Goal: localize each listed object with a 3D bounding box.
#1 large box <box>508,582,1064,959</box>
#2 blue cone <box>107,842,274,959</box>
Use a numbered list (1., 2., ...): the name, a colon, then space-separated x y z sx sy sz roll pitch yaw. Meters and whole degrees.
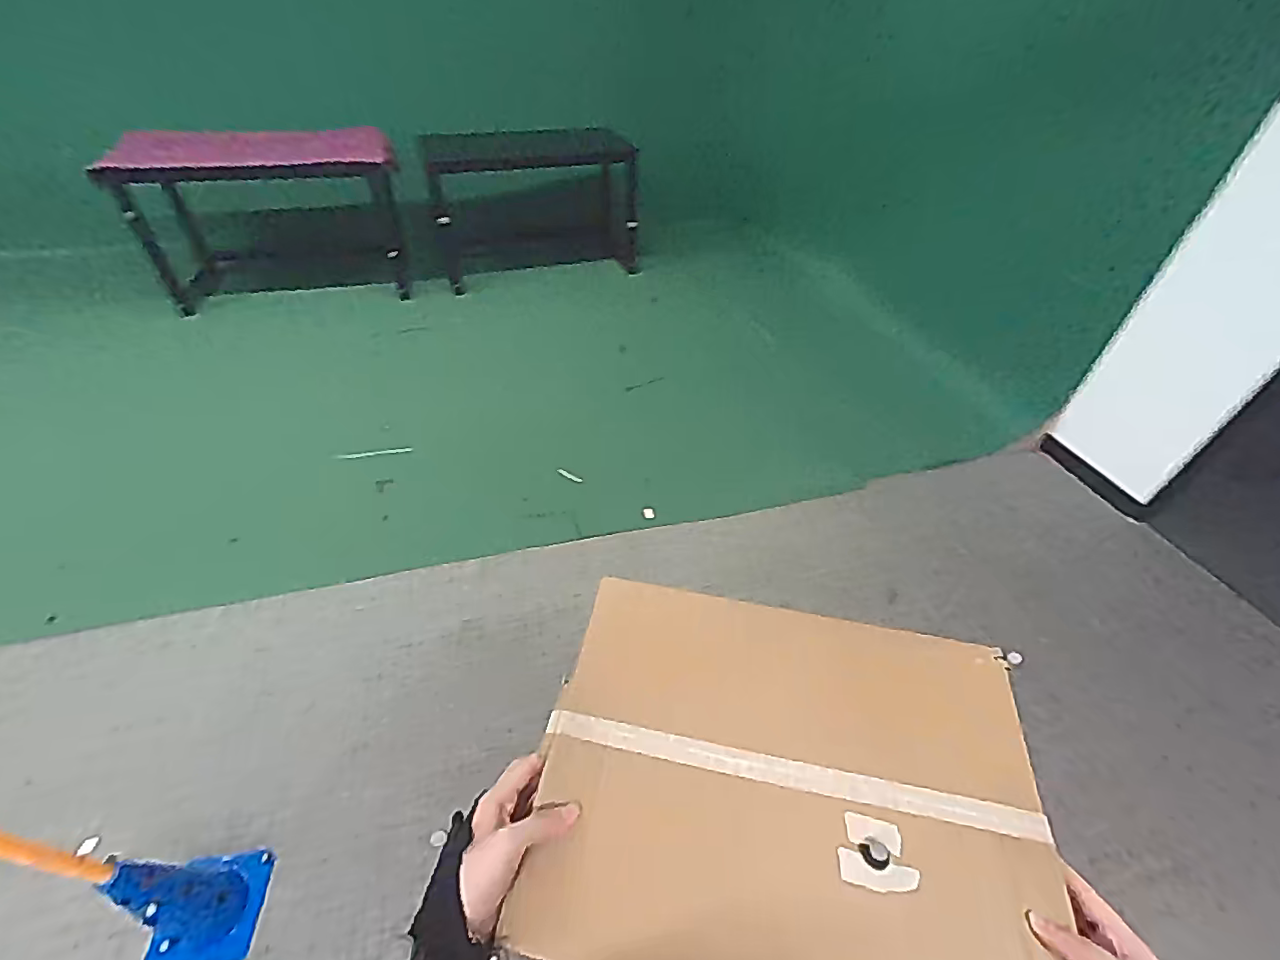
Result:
1. large box: 0.119 0.348 0.575 0.408 0.320 0.320 9 48 7
2. blue cone: -0.910 0.795 1.056 0.193 0.380 0.192 -2 42 -6
